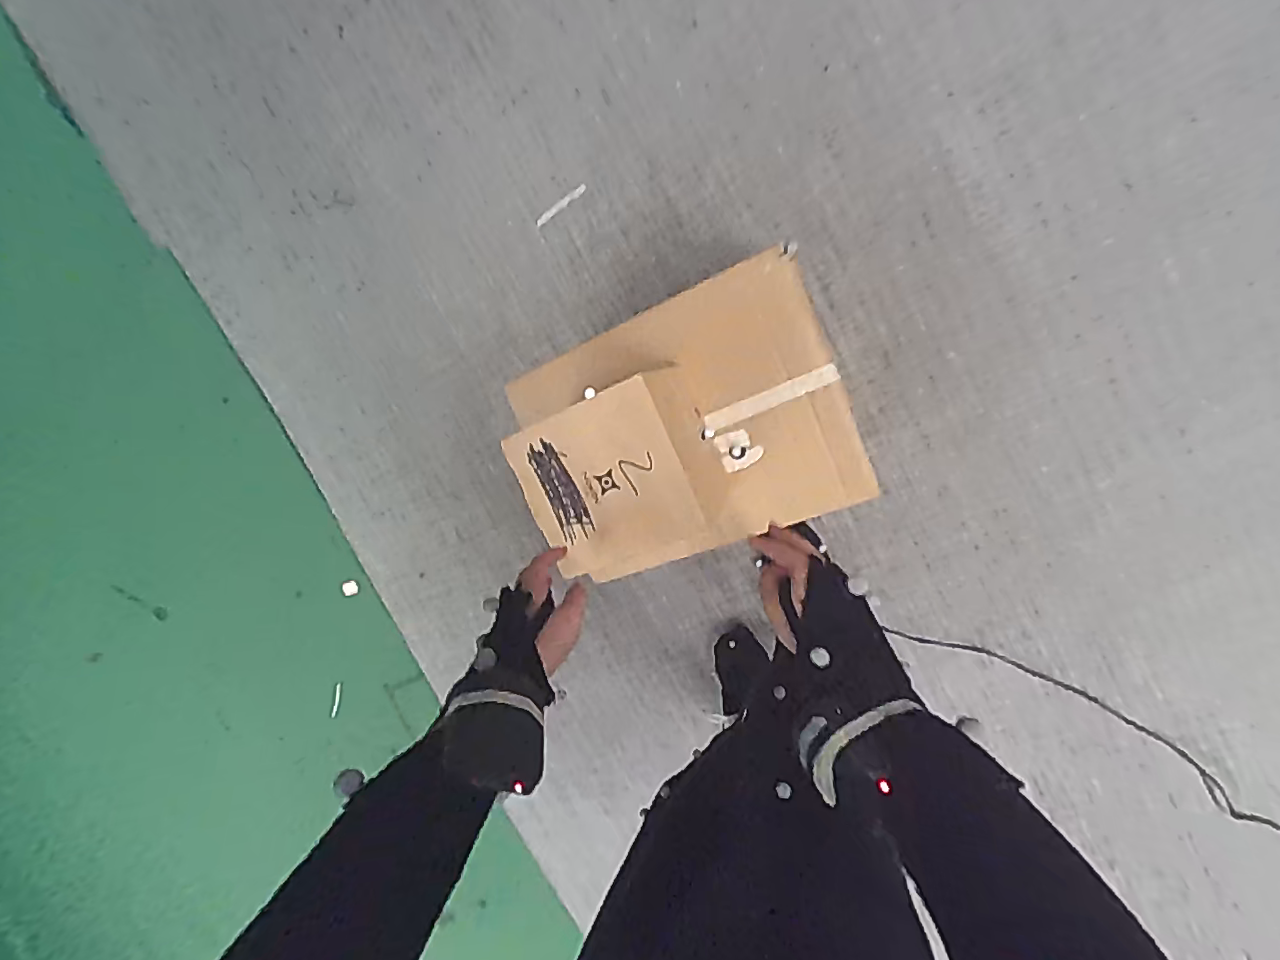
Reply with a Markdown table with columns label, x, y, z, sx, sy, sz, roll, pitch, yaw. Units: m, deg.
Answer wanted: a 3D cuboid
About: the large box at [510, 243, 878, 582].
| label | x | y | z | sx | sy | sz | roll | pitch | yaw |
| --- | --- | --- | --- | --- | --- | --- | --- | --- | --- |
| large box | 0.091 | -0.093 | 0.828 | 0.408 | 0.320 | 0.320 | -22 | 97 | 21 |
